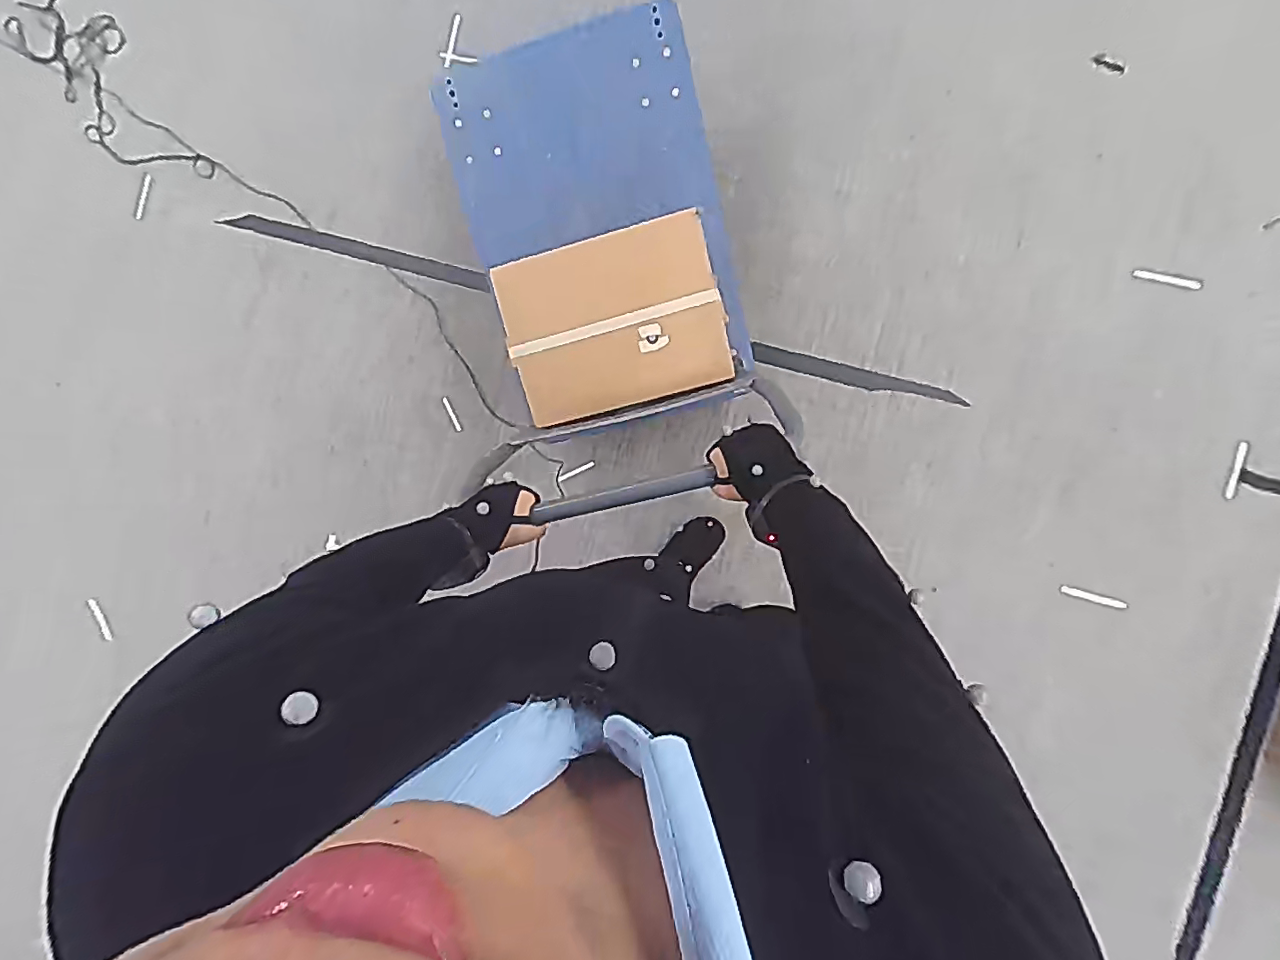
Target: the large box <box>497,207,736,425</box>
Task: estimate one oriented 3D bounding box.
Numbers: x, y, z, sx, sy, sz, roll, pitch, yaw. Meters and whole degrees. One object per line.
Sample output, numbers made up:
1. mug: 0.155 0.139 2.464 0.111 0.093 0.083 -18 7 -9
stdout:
1. large box: -0.037 -0.333 1.179 0.408 0.320 0.320 -15 102 6
